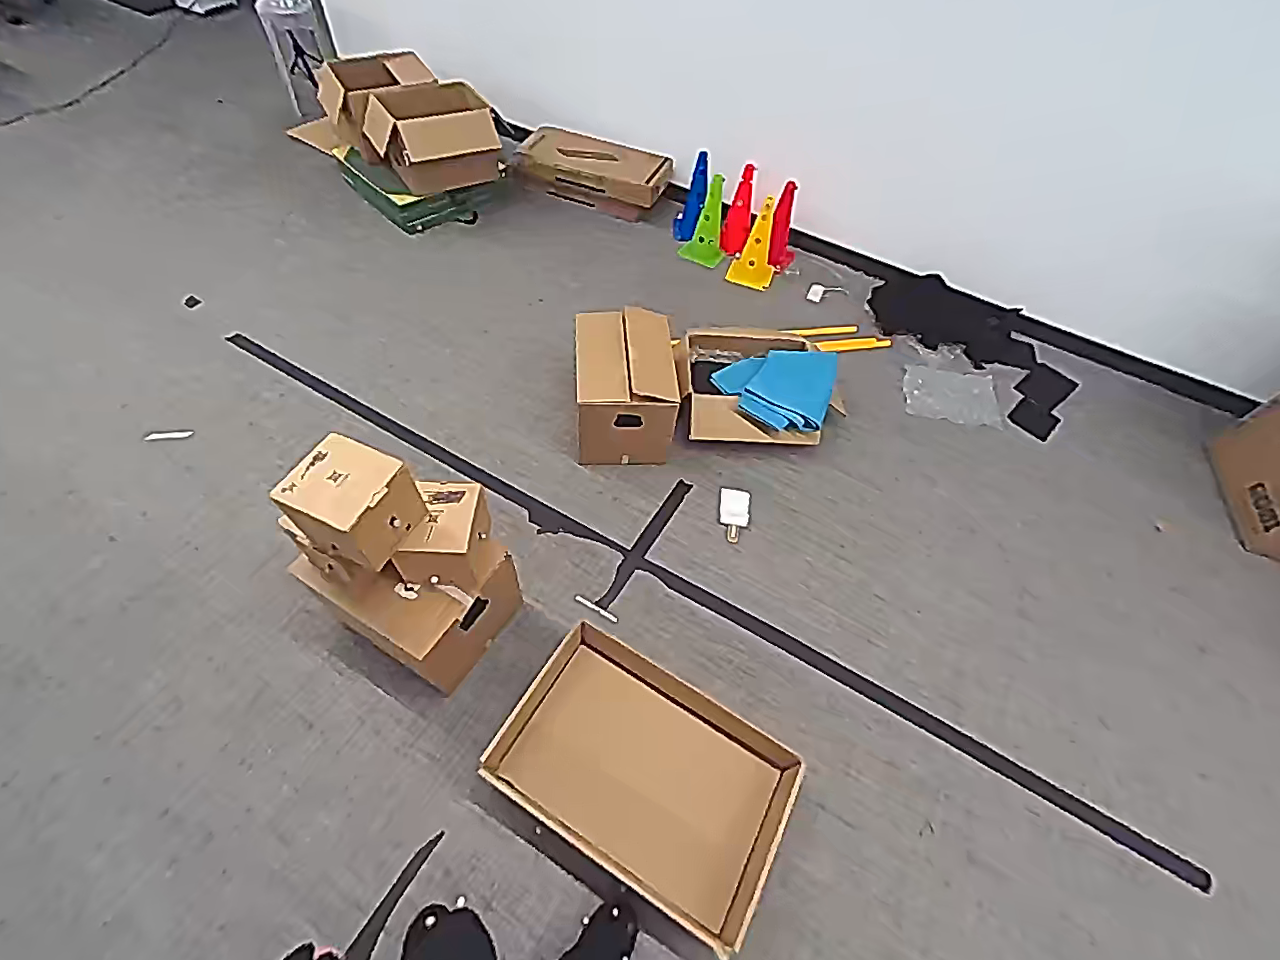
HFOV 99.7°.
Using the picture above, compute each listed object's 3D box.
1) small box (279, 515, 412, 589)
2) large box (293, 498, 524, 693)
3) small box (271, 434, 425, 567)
[{"bbox_3d":[-0.637,0.112,1.199,0.168,0.176,0.179,27,56,11],"label":"small box"},{"bbox_3d":[-0.560,0.277,1.387,0.408,0.320,0.320,27,58,12],"label":"large box"},{"bbox_3d":[-0.551,0.047,1.051,0.179,0.176,0.168,22,57,11],"label":"small box"}]
